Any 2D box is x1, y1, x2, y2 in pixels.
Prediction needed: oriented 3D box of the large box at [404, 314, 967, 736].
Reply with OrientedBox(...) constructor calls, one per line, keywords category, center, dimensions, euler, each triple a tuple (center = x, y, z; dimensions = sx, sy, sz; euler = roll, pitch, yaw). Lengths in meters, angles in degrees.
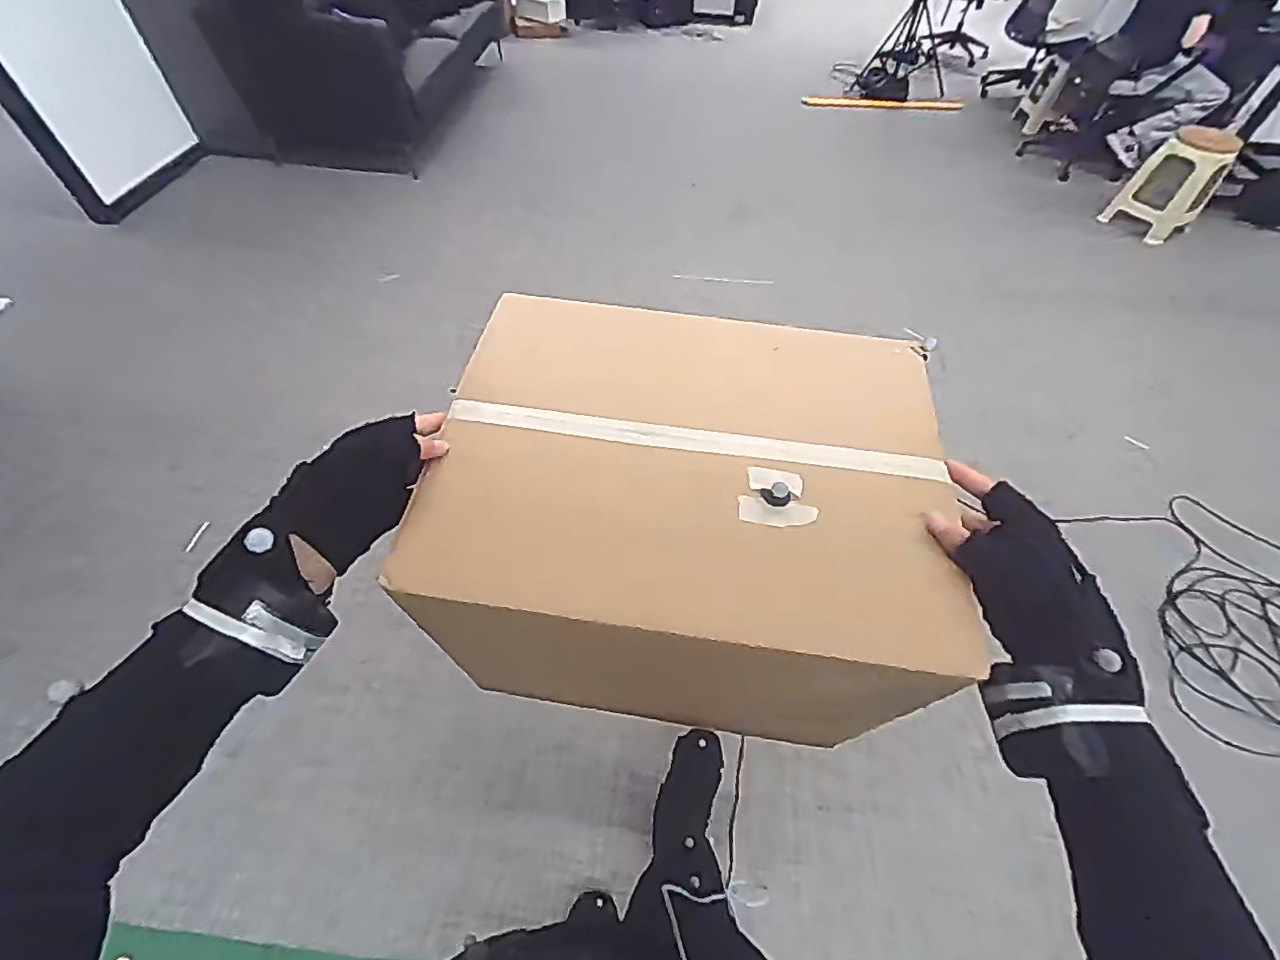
OrientedBox(category="large box", center=(0.040, 0.060, 0.579), dimensions=(0.408, 0.320, 0.320), euler=(7, 57, 3))
